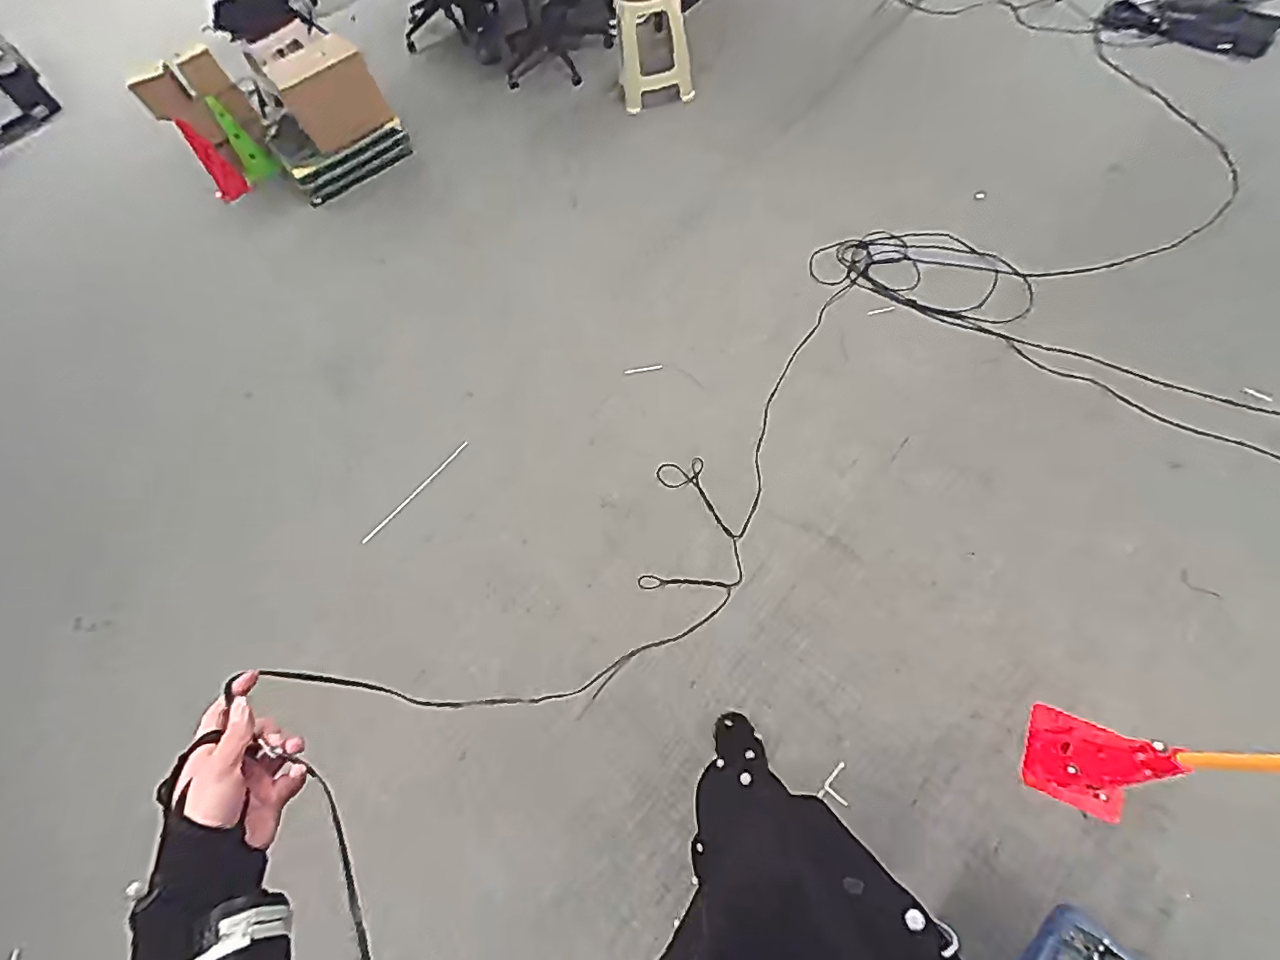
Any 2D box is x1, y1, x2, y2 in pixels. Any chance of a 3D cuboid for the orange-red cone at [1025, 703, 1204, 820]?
[{"bbox_3d":[0.997,0.571,1.111,0.198,0.360,0.199,21,67,18],"label":"orange-red cone"}]
